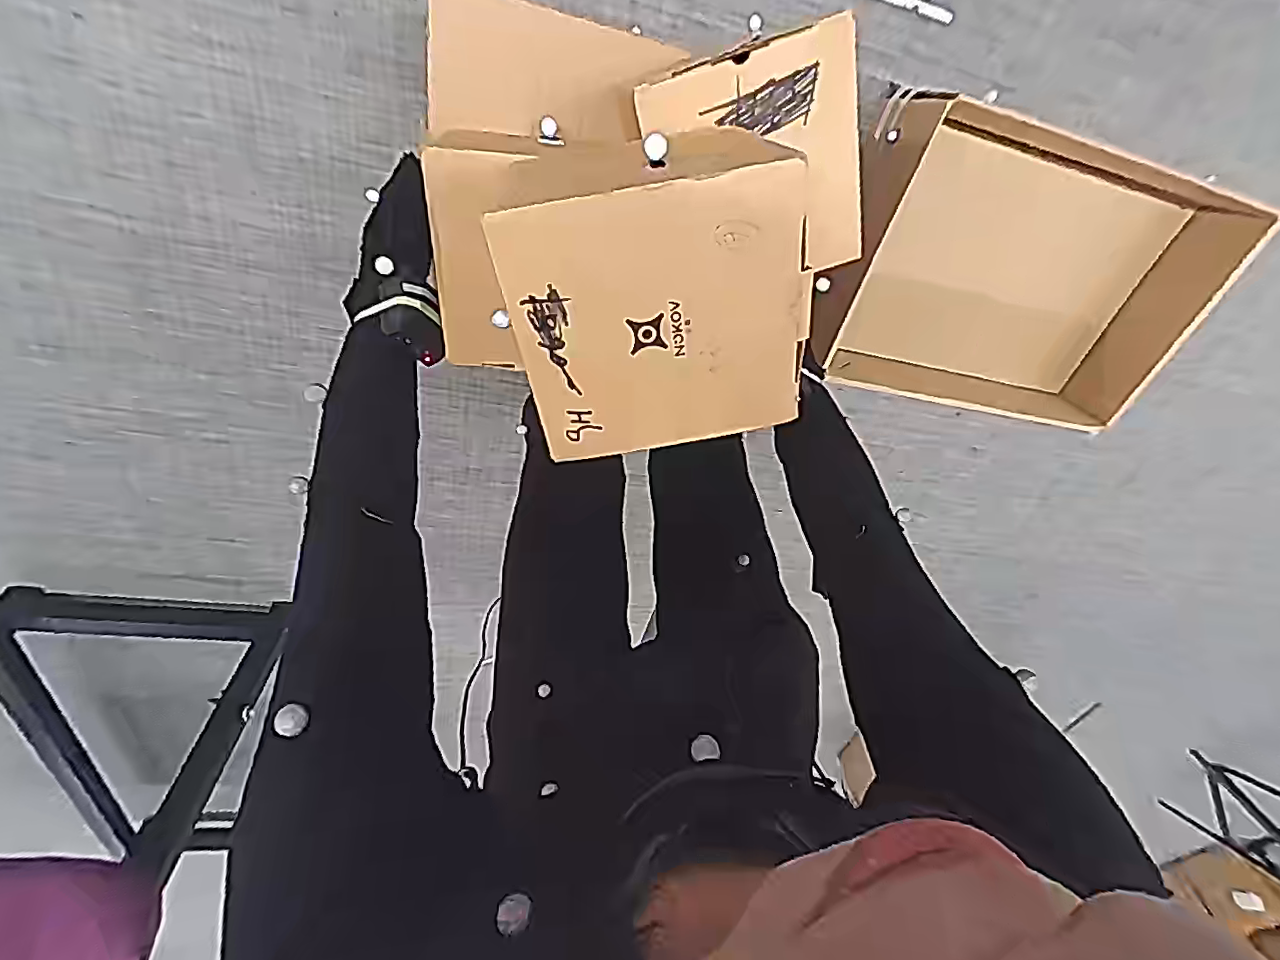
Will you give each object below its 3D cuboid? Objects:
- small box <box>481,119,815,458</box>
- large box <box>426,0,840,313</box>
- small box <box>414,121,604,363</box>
[{"bbox_3d":[0.005,-0.141,0.383,0.179,0.176,0.168,-10,128,1],"label":"small box"},{"bbox_3d":[-0.039,-0.386,0.704,0.408,0.320,0.320,6,127,-13],"label":"large box"},{"bbox_3d":[-0.100,-0.225,0.512,0.168,0.176,0.179,-2,126,-9],"label":"small box"}]
